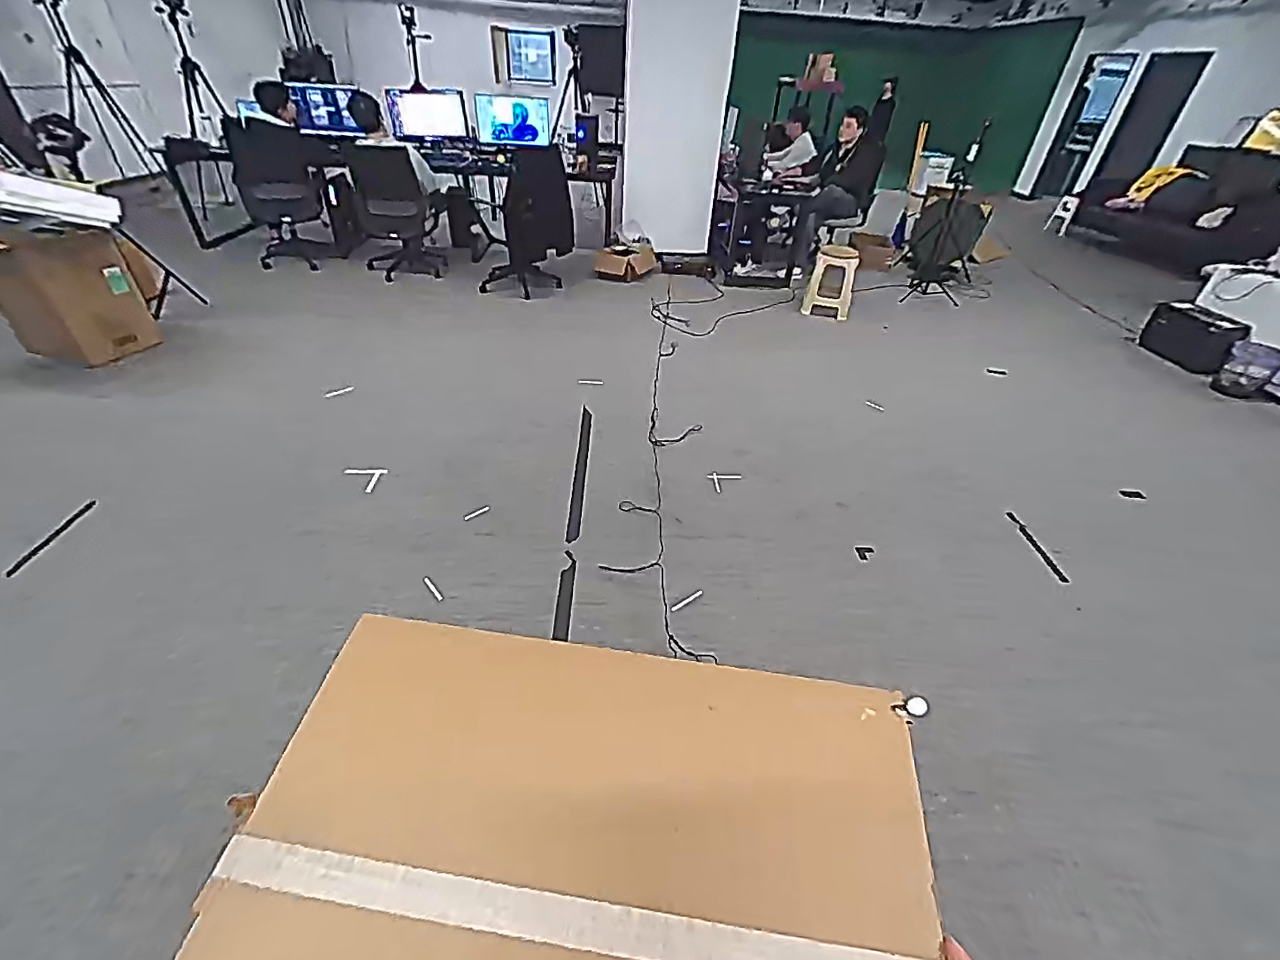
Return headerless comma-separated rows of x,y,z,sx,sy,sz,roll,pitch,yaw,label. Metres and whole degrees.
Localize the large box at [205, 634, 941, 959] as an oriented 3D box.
-0.037,0.350,0.415,0.408,0.320,0.320,7,50,4,large box
